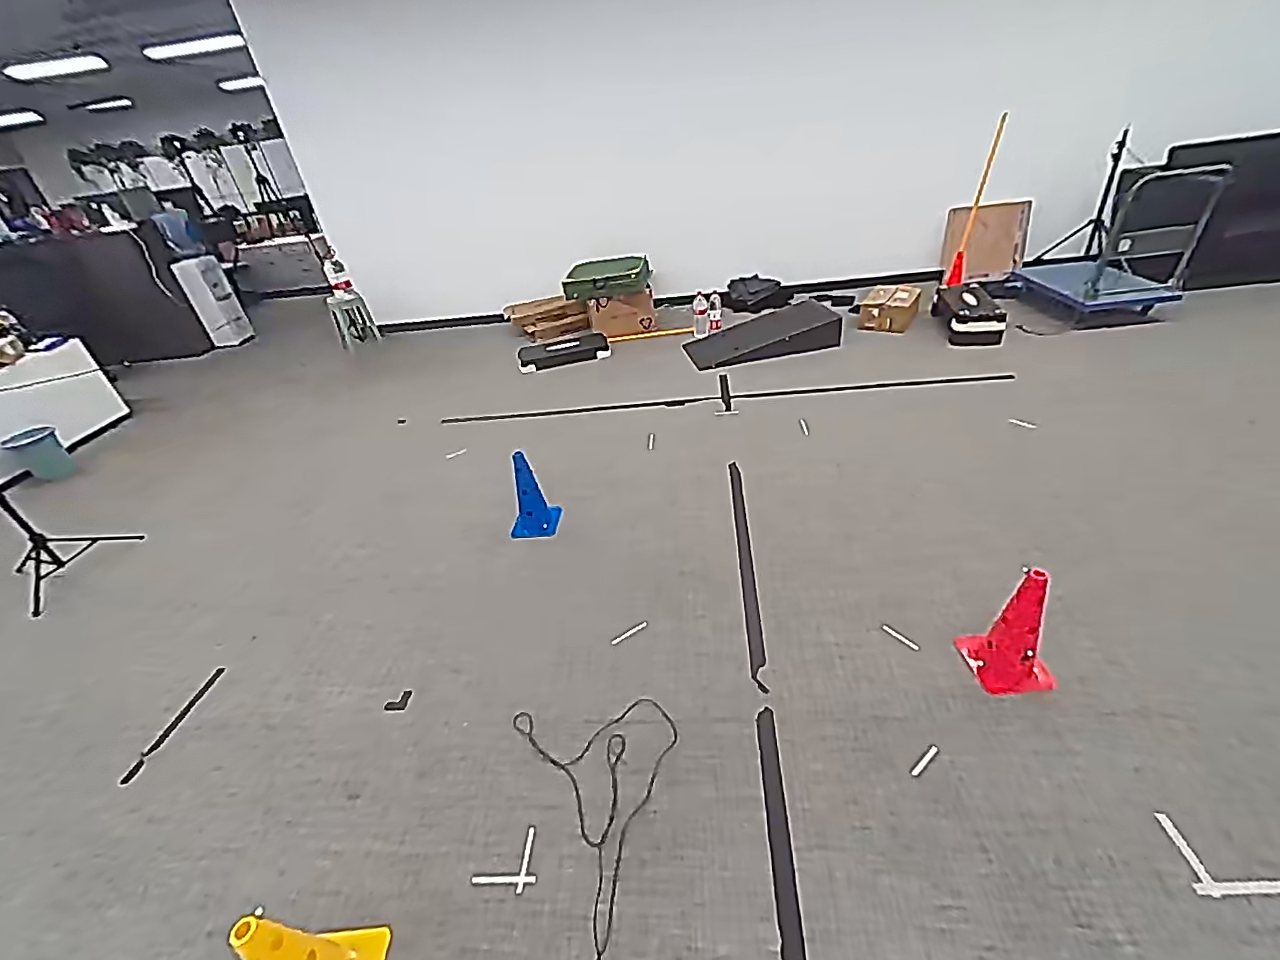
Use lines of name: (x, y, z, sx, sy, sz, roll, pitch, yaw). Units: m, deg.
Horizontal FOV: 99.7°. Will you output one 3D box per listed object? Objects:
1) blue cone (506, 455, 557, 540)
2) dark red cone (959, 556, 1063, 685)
blue cone: (-0.490, 0.061, 2.289, 0.192, 0.380, 0.193, -4, 33, 8)
dark red cone: (1.033, 0.359, 1.457, 0.201, 0.394, 0.202, -9, 33, 1)
